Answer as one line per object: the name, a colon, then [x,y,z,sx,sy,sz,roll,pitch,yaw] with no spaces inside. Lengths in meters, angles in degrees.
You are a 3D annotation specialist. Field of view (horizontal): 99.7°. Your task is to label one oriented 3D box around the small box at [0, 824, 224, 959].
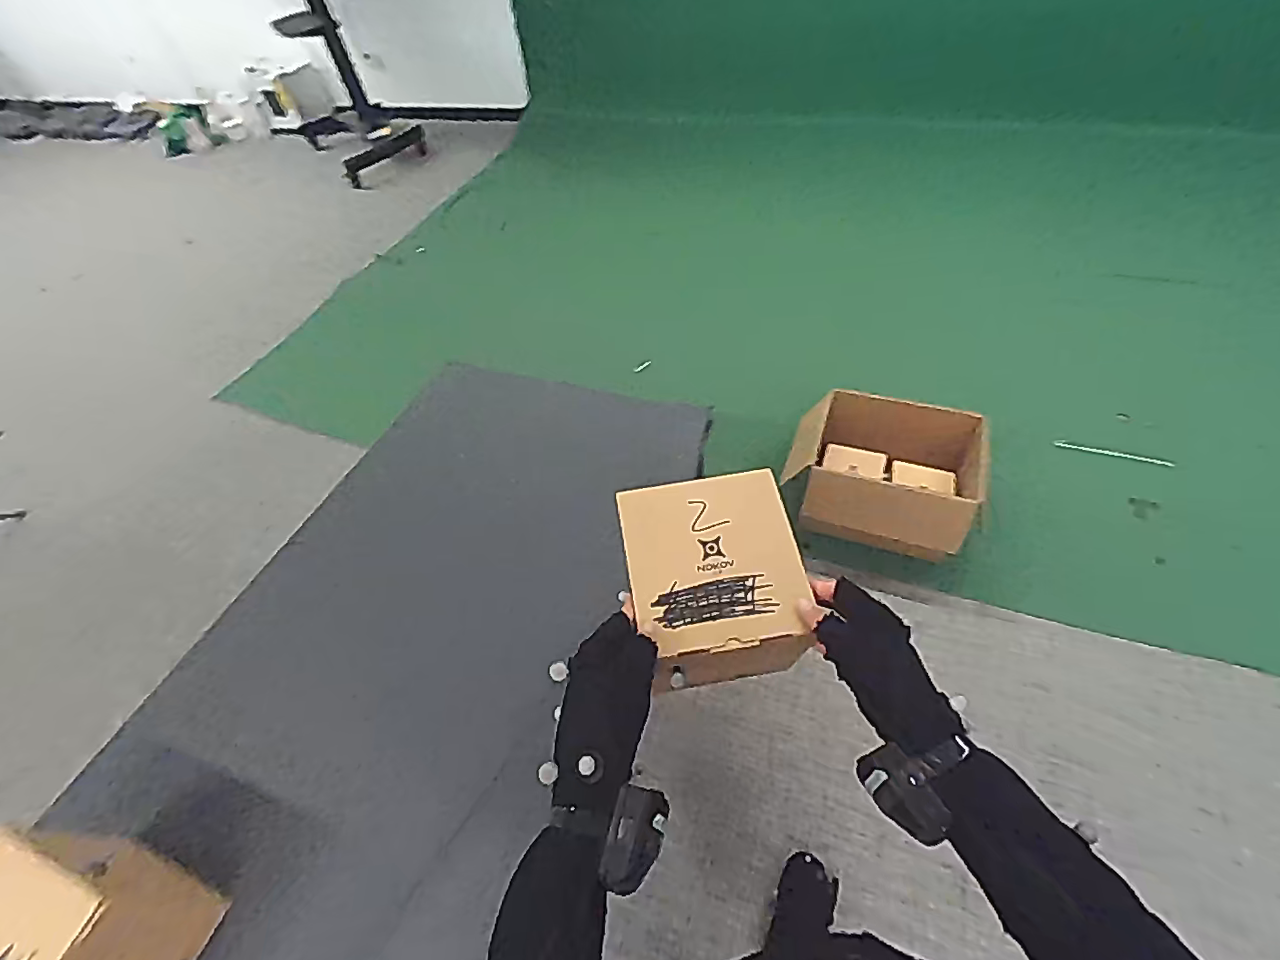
small box: [-0.577,0.468,0.532,0.179,0.176,0.168,12,55,17]
